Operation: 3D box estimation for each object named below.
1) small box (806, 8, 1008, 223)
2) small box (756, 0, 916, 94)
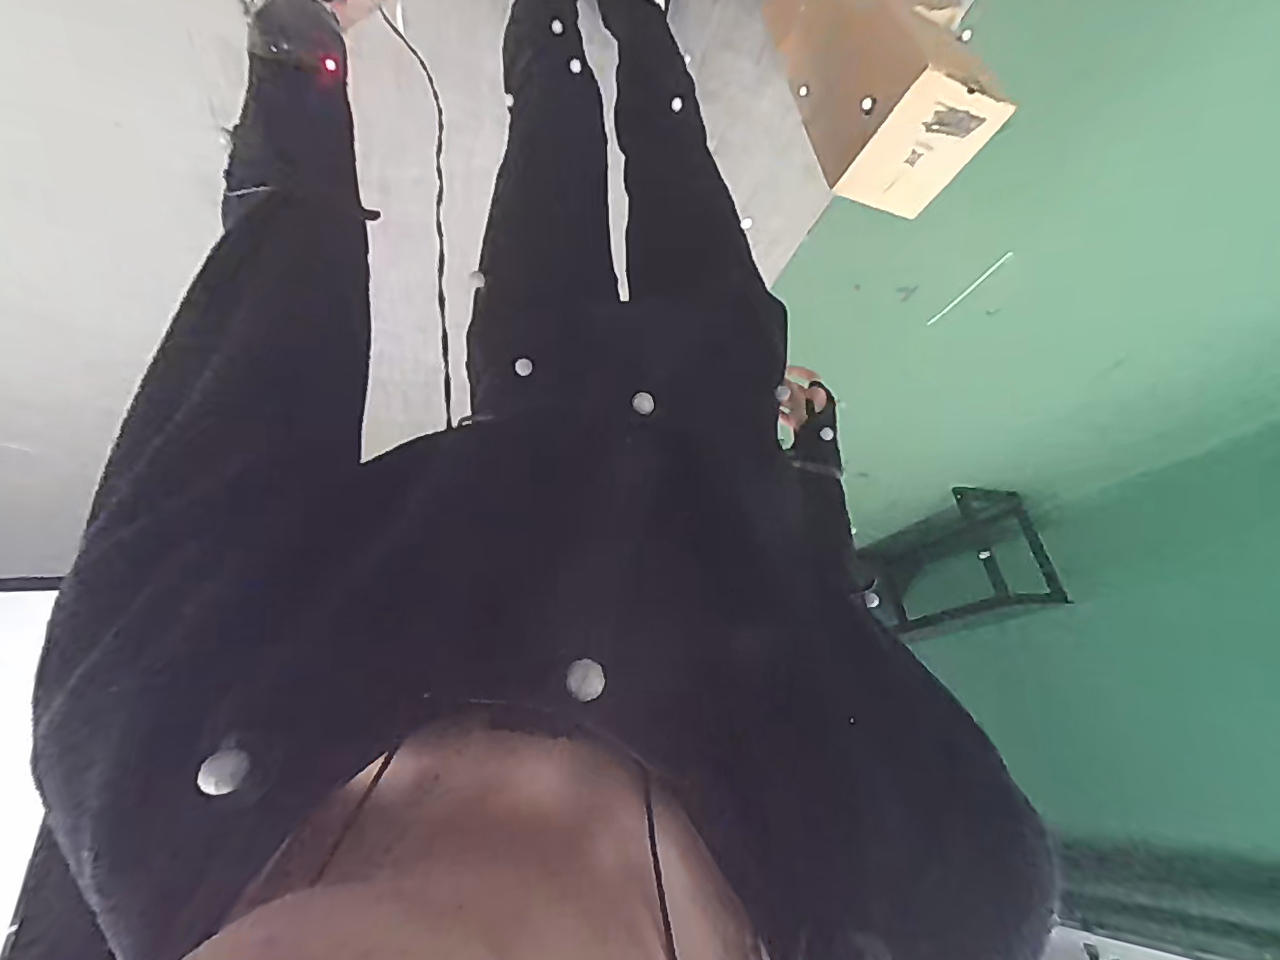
[{"bbox_3d":[0.366,-0.515,0.775,0.168,0.176,0.179,4,153,-24],"label":"small box"},{"bbox_3d":[0.324,-0.805,0.924,0.179,0.176,0.168,9,150,-30],"label":"small box"}]
